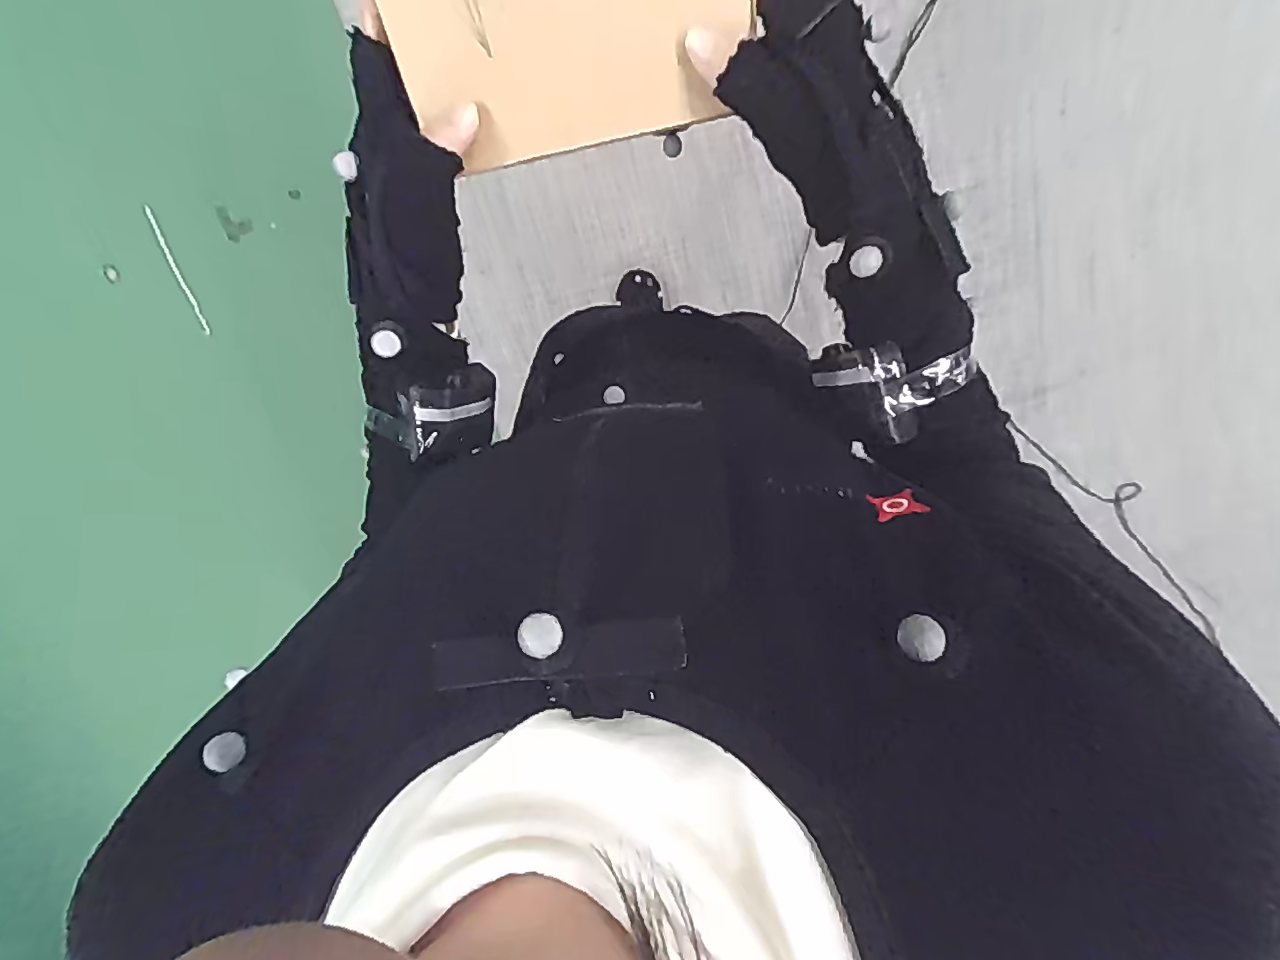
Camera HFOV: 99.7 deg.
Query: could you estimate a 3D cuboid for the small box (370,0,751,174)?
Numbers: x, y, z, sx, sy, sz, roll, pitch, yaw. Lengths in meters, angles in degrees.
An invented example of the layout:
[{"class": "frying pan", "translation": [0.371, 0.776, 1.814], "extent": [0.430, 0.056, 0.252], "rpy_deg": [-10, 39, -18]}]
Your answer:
[{"class": "small box", "translation": [-0.043, -0.289, 0.308], "extent": [0.179, 0.176, 0.168], "rpy_deg": [-10, 121, 8]}]
